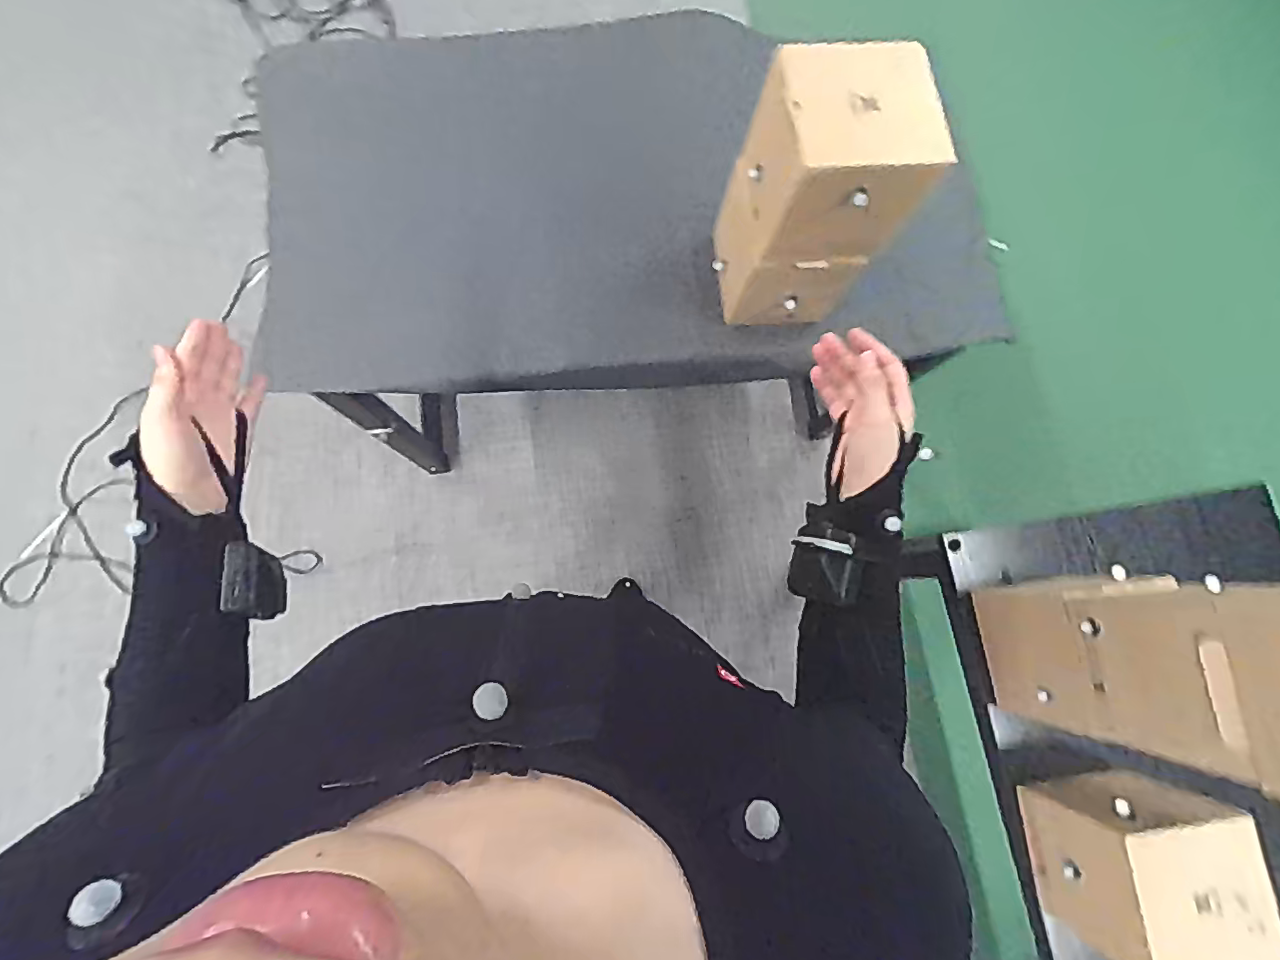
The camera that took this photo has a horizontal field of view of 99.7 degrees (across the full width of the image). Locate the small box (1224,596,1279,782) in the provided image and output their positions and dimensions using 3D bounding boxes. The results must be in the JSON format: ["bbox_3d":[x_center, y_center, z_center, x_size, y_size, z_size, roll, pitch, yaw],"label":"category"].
[{"bbox_3d":[0.636,0.181,0.422,0.168,0.176,0.179,-4,80,-7],"label":"small box"}]

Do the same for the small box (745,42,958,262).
[{"bbox_3d":[0.245,-0.393,0.670,0.179,0.176,0.168,-6,78,-5],"label":"small box"}]

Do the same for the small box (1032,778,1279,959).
[{"bbox_3d":[0.647,0.505,0.694,0.179,0.176,0.168,-4,80,-5],"label":"small box"}]

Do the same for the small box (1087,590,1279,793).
[{"bbox_3d":[0.632,0.210,0.582,0.179,0.176,0.168,-4,81,-6],"label":"small box"}]

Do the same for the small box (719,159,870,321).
[{"bbox_3d":[0.224,-0.357,0.828,0.168,0.176,0.179,-4,78,-5],"label":"small box"}]
